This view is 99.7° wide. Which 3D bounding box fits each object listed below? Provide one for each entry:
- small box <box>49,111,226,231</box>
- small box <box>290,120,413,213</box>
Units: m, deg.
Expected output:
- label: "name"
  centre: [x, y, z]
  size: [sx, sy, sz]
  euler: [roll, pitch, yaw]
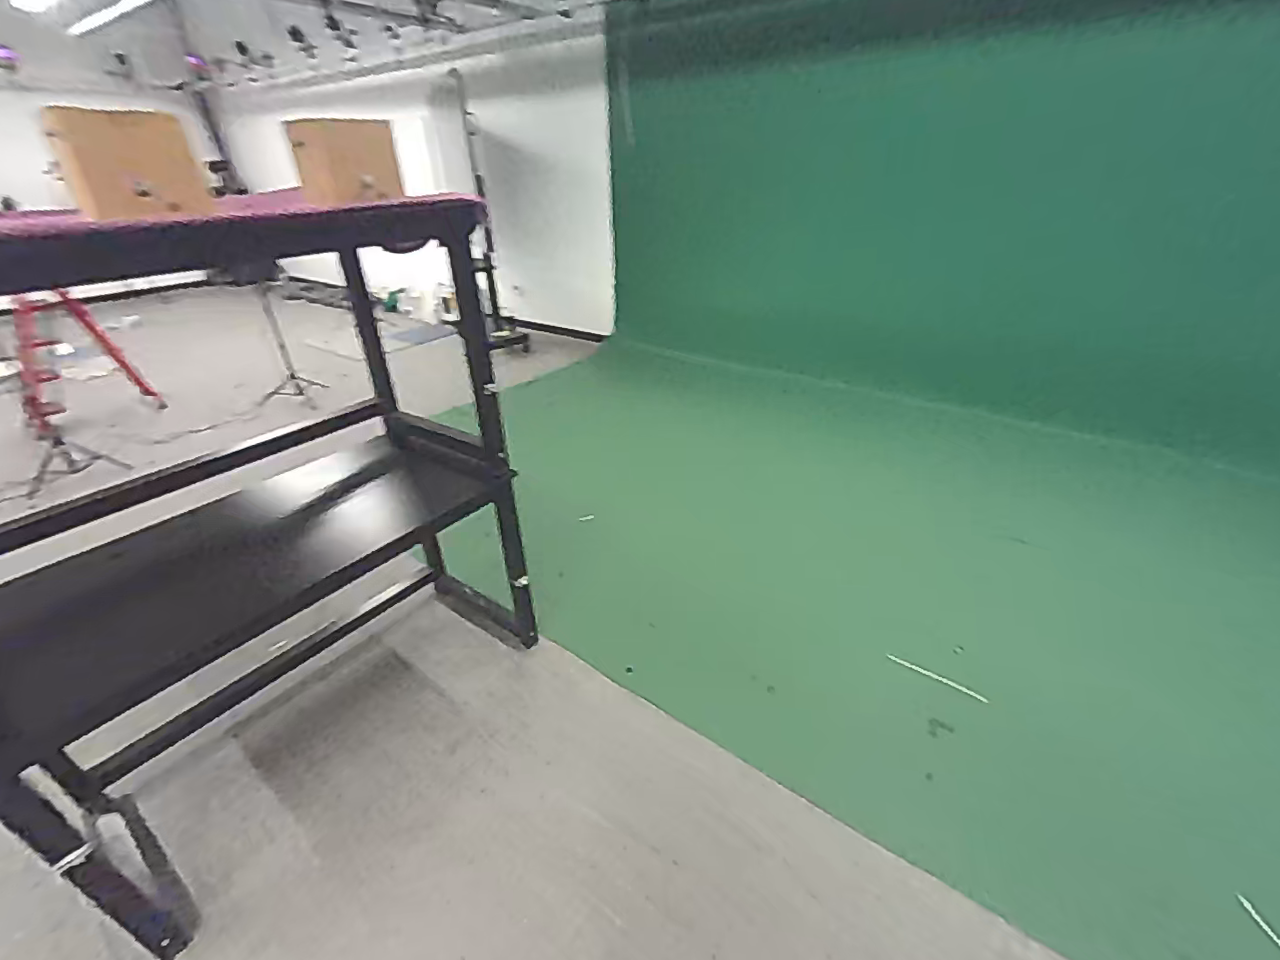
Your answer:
- label: "small box"
  centre: [-0.877, -0.536, 0.952]
  size: [0.179, 0.176, 0.168]
  euler: [22, 38, 35]
- label: "small box"
  centre: [-0.640, -0.698, 1.210]
  size: [0.179, 0.176, 0.168]
  euler: [24, 40, 35]
